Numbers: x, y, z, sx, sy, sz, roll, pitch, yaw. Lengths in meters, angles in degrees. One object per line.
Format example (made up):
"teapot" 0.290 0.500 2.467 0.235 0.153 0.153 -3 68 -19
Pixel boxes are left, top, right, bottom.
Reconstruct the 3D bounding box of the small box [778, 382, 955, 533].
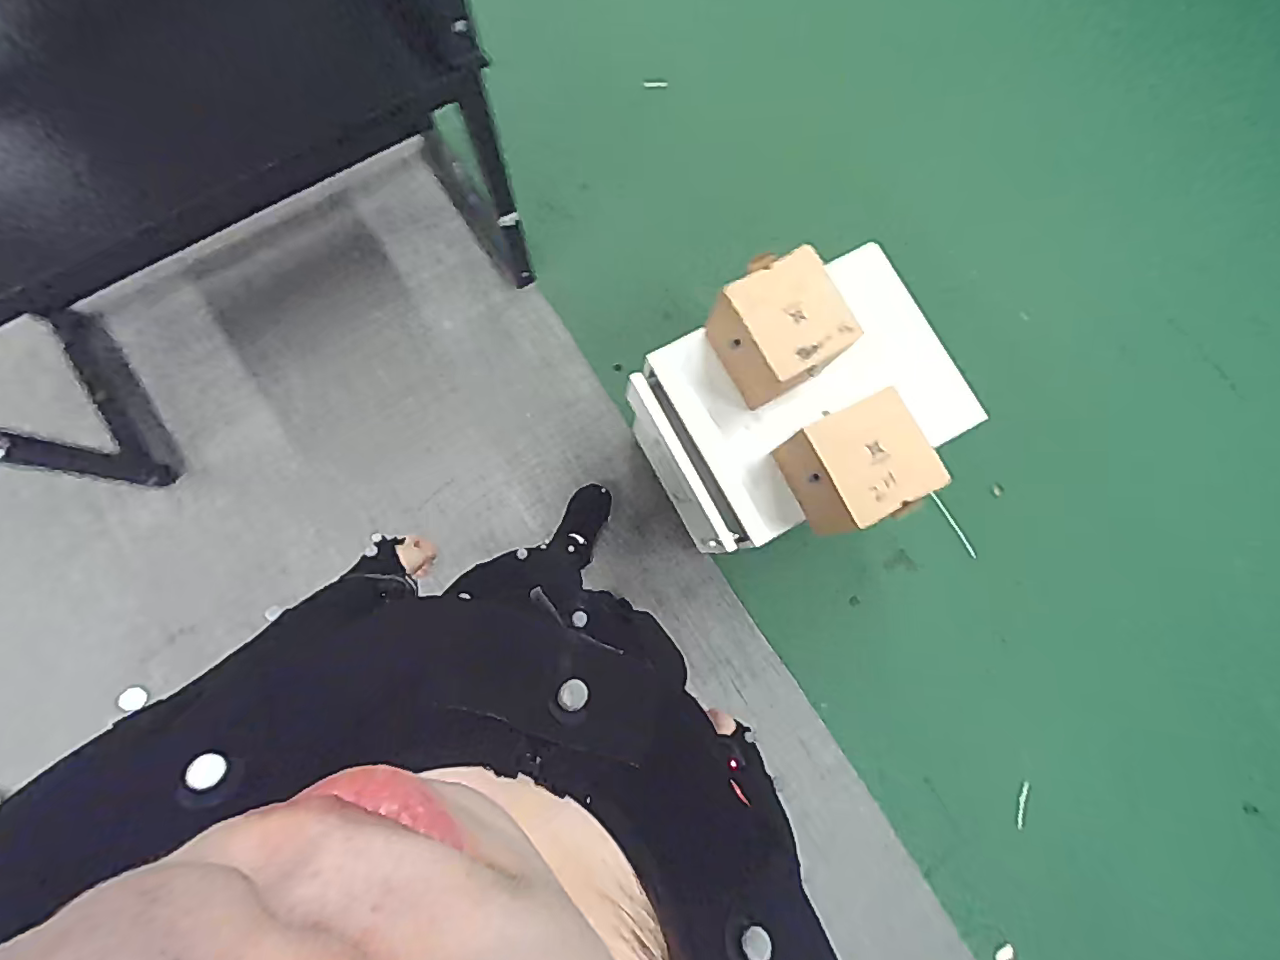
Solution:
"small box" 0.349 -0.026 0.871 0.168 0.176 0.179 -26 84 -6

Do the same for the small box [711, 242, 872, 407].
"small box" 0.238 -0.248 0.900 0.168 0.176 0.179 -29 85 -8
